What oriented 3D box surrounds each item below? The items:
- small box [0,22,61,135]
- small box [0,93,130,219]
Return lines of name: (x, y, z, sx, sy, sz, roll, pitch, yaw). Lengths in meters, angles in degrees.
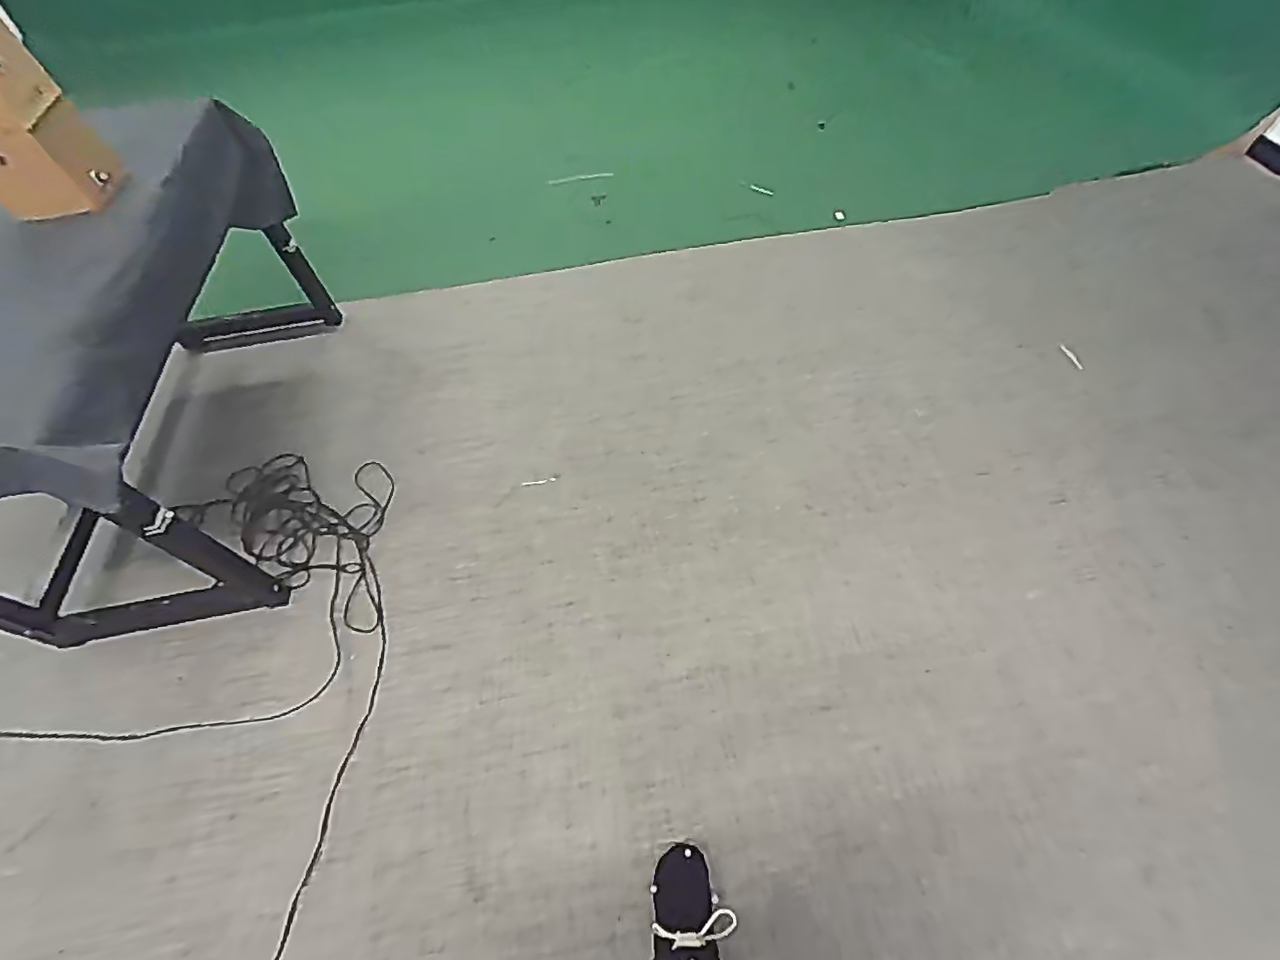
small box: (-1.257, -0.761, 1.001, 0.179, 0.176, 0.168, -11, 58, -2)
small box: (-1.256, -0.676, 1.140, 0.179, 0.176, 0.168, -9, 58, -3)
